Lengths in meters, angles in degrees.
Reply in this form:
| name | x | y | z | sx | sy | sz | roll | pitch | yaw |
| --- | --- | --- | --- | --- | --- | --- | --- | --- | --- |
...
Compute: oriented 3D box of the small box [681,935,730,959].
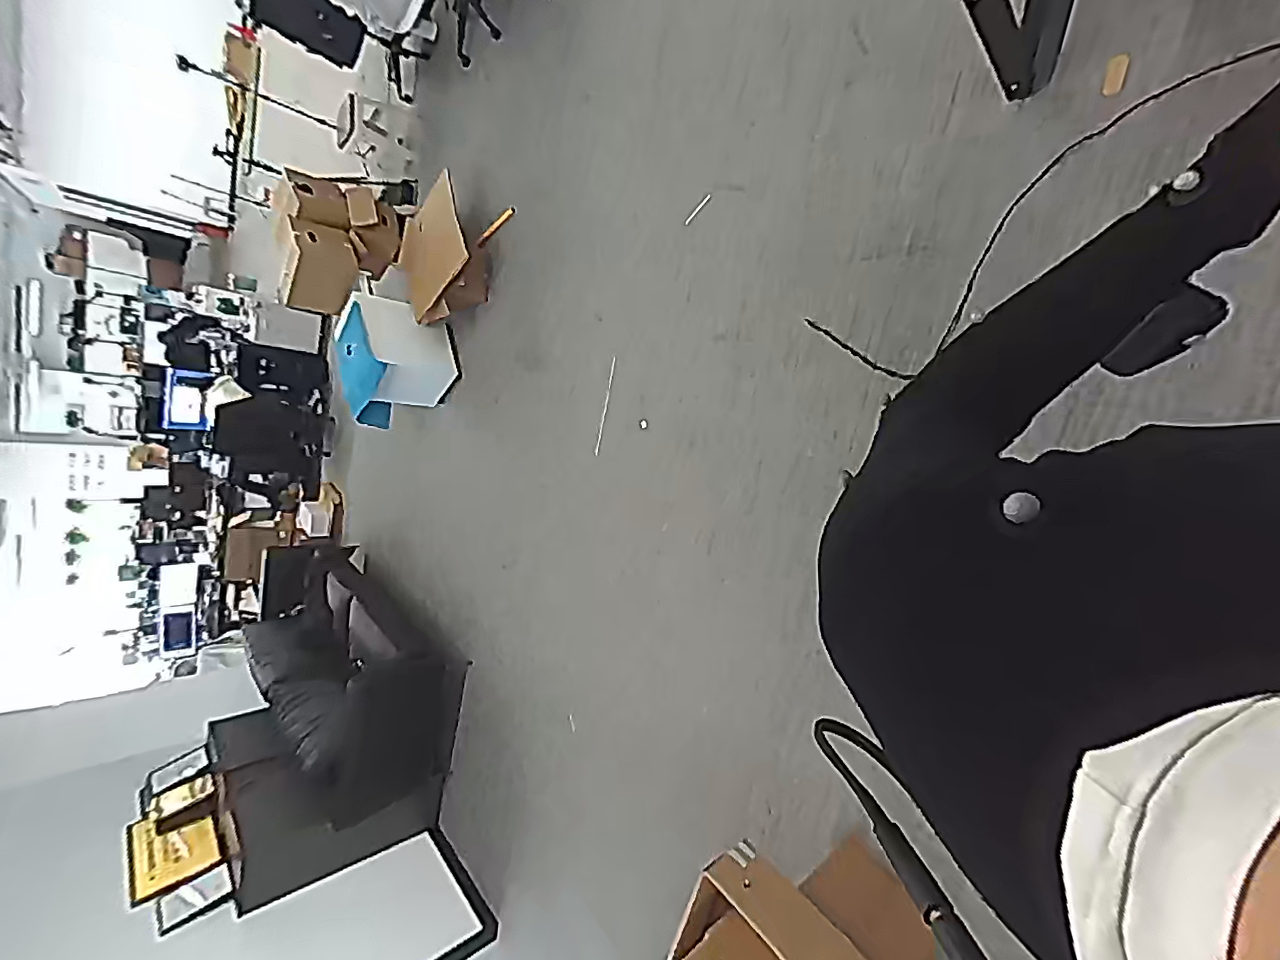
| name | x | y | z | sx | sy | sz | roll | pitch | yaw |
| --- | --- | --- | --- | --- | --- | --- | --- | --- | --- |
| small box | 0.147 | 1.231 | 1.260 | 0.168 | 0.176 | 0.179 | 29 | 109 | 42 |
